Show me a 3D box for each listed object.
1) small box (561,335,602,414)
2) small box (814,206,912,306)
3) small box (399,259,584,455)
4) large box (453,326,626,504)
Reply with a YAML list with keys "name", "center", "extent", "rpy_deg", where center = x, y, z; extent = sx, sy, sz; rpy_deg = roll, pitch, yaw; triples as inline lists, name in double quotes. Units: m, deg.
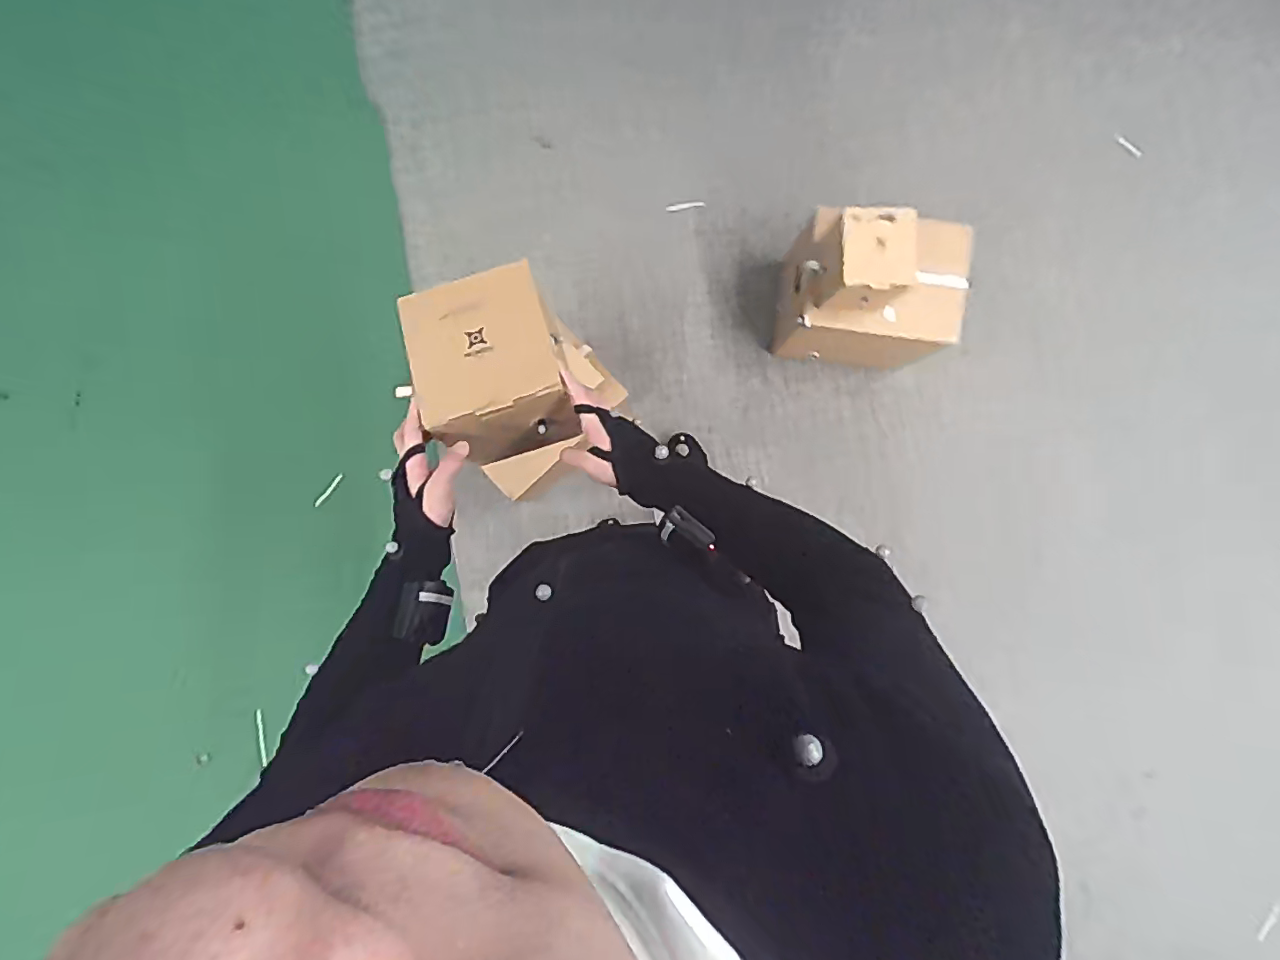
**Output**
- name: "small box"
  center: [-0.204, -0.218, 1.247]
  extent: [0.179, 0.176, 0.168]
  rpy_deg: [-44, 90, -2]
- name: "small box"
  center: [0.518, -0.519, 1.273]
  extent: [0.168, 0.176, 0.179]
  rpy_deg: [0, 89, -2]
- name: "small box"
  center: [-0.180, -0.142, 0.697]
  extent: [0.168, 0.176, 0.179]
  rpy_deg: [-16, 75, 0]
- name: "large box"
  center: [-0.282, -0.182, 1.492]
  extent: [0.408, 0.320, 0.320]
  rpy_deg: [-44, 88, -1]
